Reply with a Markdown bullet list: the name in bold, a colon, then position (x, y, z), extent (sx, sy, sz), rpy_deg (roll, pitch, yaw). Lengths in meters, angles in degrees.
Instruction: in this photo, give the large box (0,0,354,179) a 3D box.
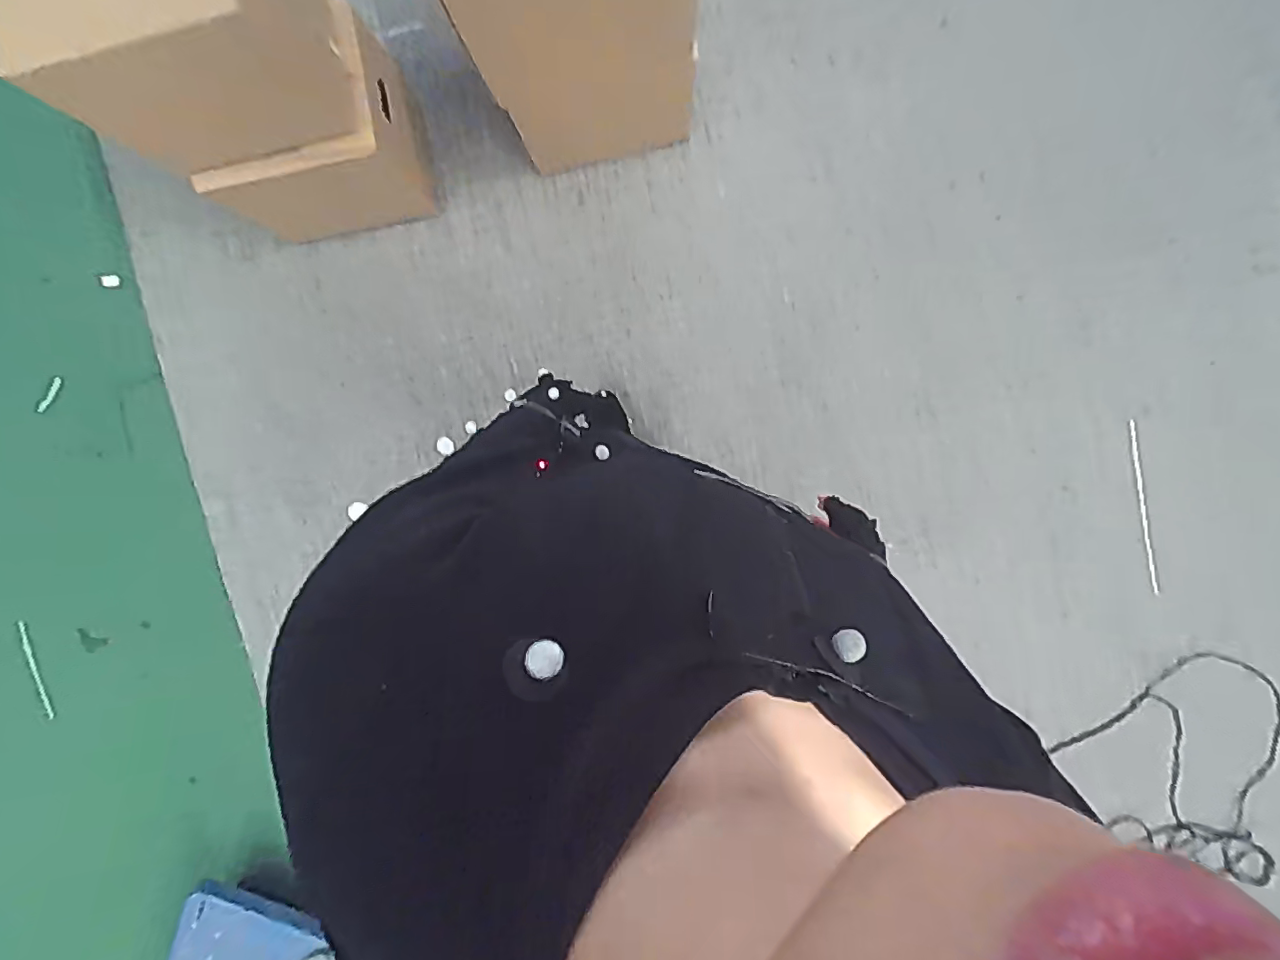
- **large box**: position (-0.807, -0.805, 0.960), extent (0.408, 0.320, 0.320), rpy_deg (-11, 91, 3)
